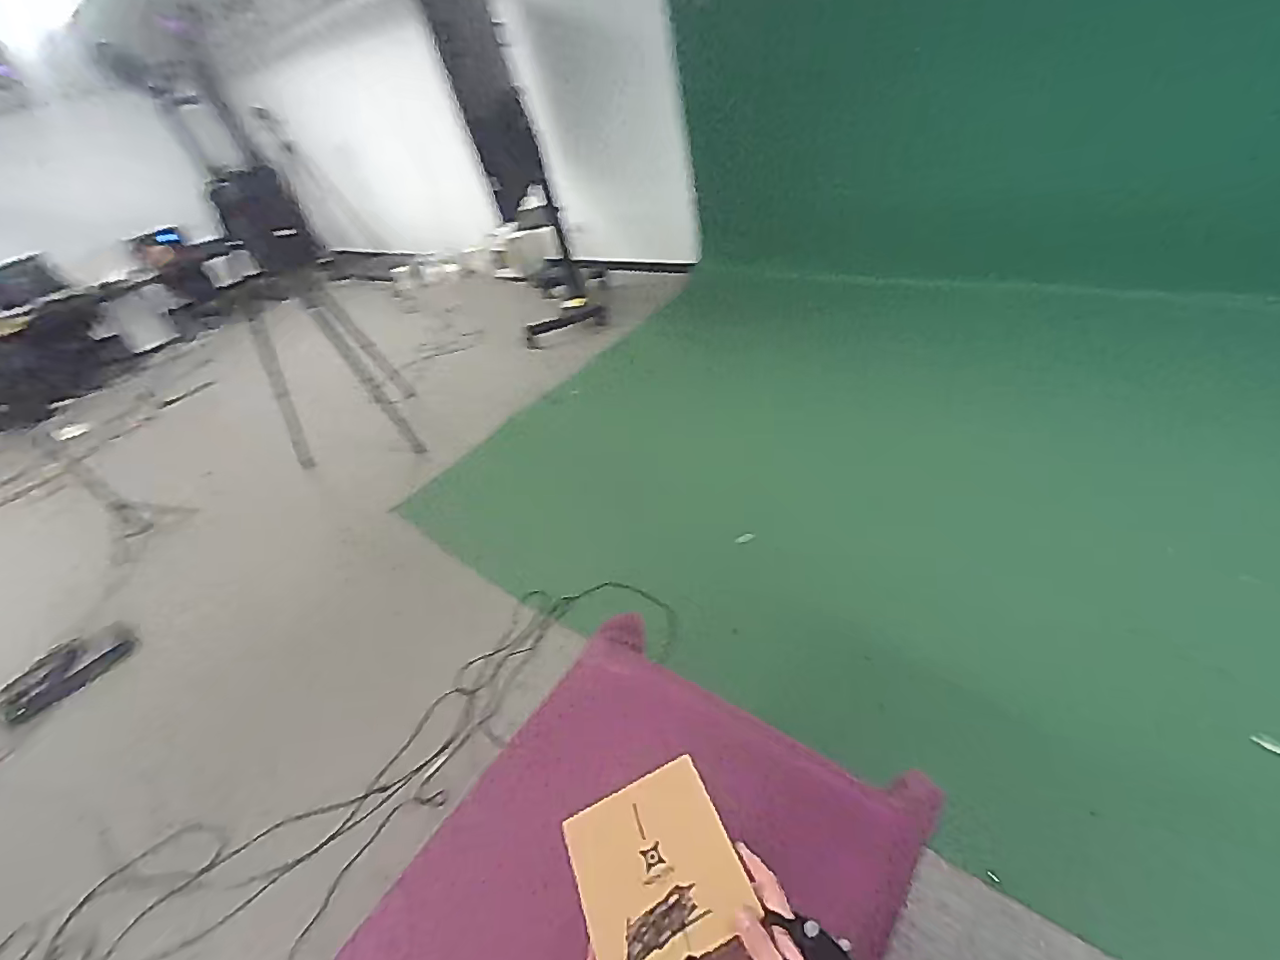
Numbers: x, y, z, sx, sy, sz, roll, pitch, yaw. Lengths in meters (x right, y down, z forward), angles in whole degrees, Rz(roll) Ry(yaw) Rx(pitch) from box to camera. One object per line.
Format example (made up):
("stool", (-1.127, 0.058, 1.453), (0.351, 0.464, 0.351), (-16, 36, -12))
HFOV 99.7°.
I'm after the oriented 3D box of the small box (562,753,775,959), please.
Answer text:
("small box", (0.033, 0.453, 0.601), (0.168, 0.176, 0.179), (-24, 37, -7))
